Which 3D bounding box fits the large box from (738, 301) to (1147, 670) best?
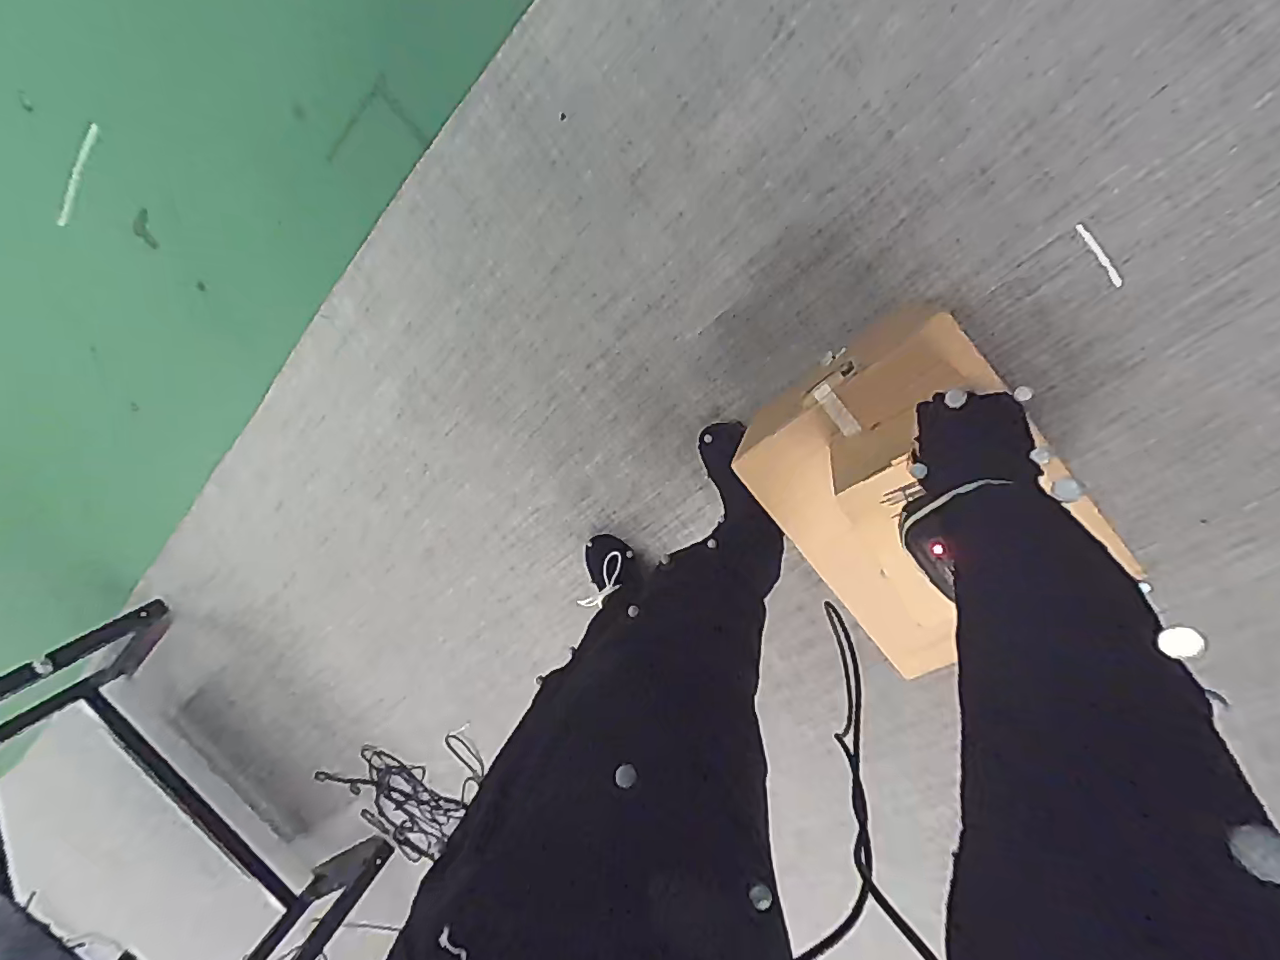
[{"bbox_3d":[0.406,-0.011,0.821,0.320,0.320,0.408,-38,96,27],"label":"large box"}]
